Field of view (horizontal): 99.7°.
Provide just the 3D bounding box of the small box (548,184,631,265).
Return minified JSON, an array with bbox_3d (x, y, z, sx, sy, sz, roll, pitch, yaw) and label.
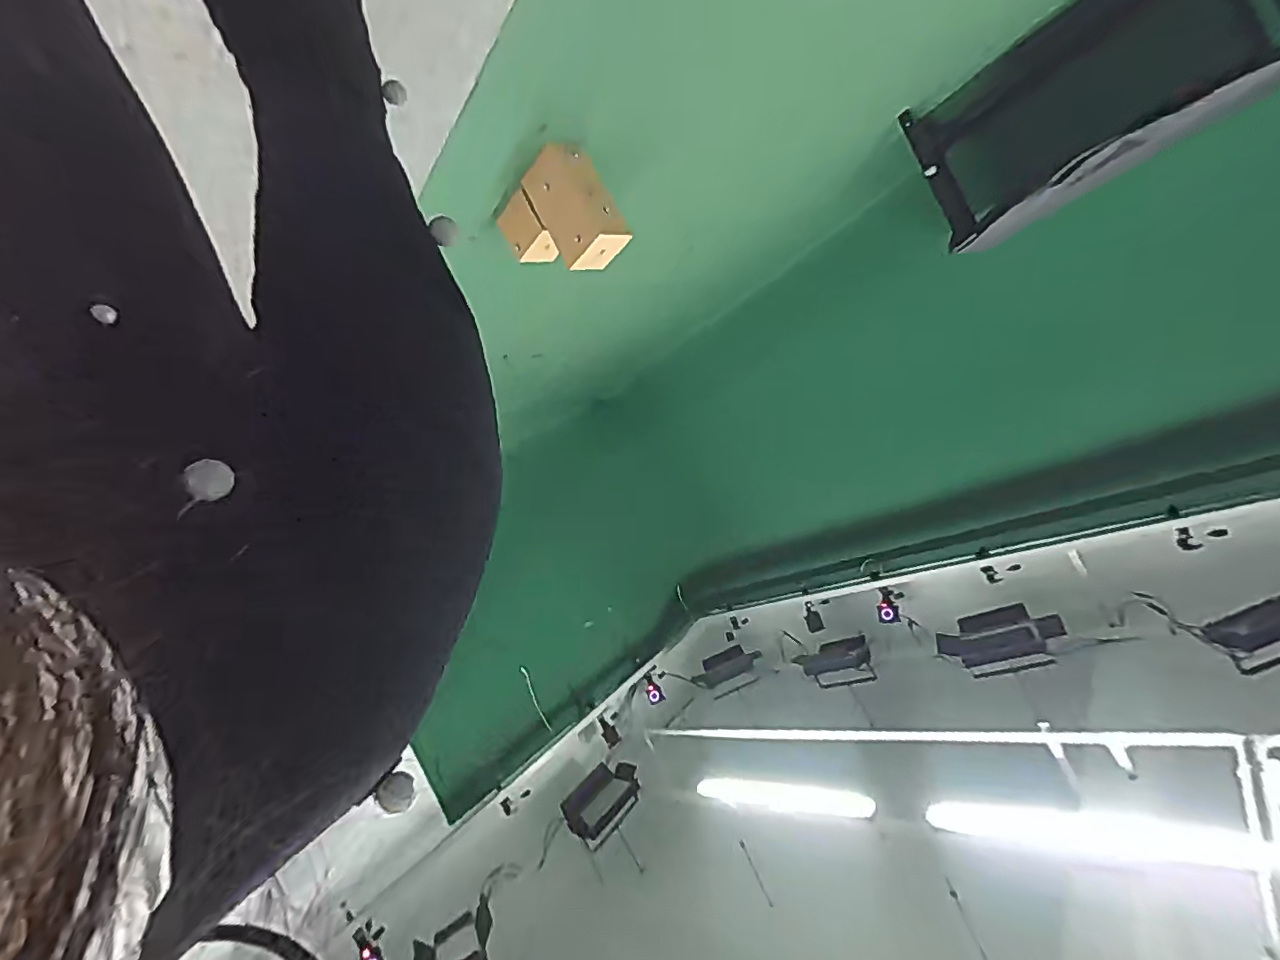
[{"bbox_3d":[-0.168,-0.818,1.737,0.179,0.176,0.168,-28,178,43],"label":"small box"}]
